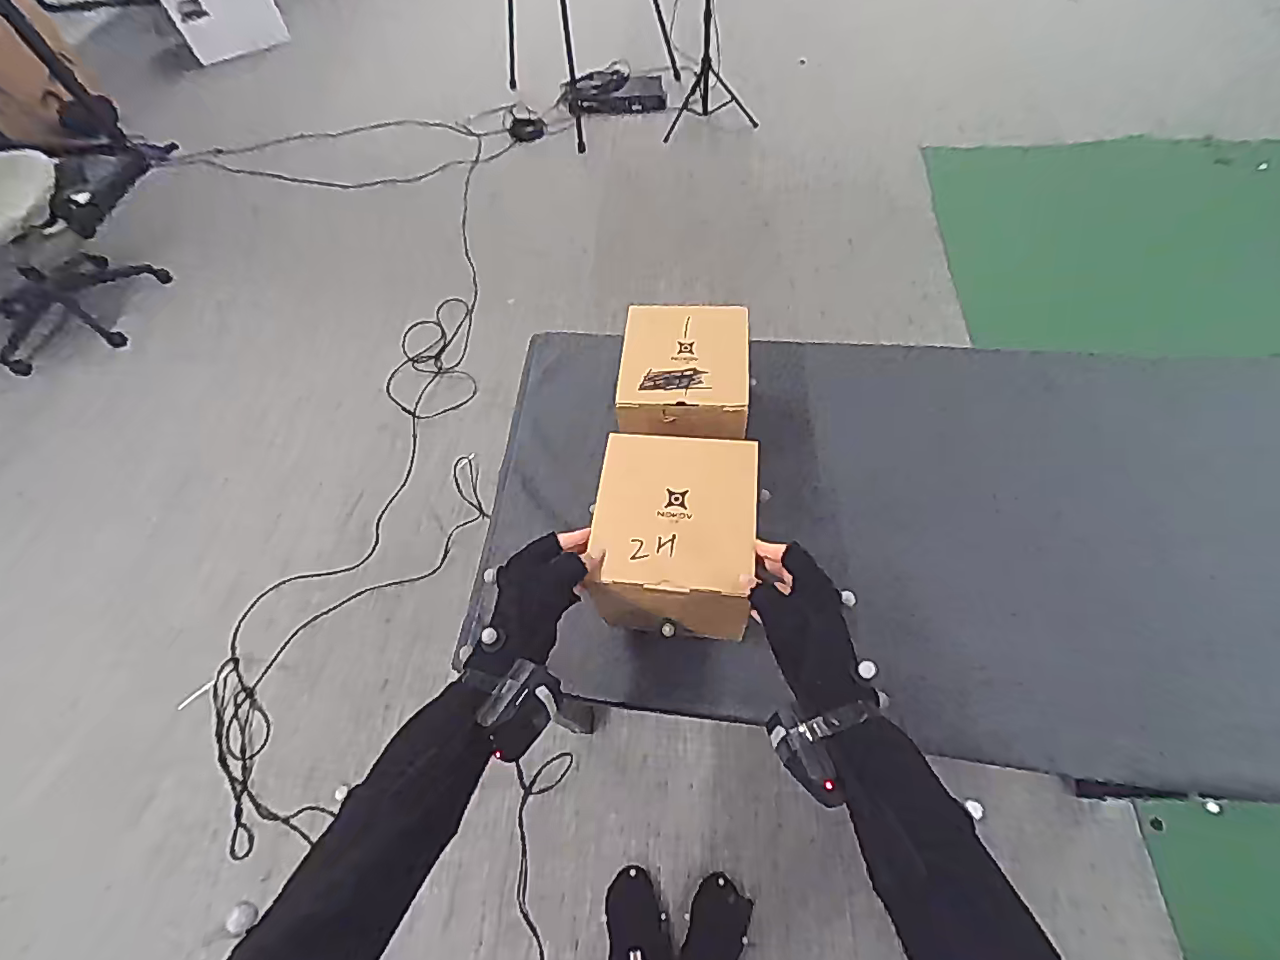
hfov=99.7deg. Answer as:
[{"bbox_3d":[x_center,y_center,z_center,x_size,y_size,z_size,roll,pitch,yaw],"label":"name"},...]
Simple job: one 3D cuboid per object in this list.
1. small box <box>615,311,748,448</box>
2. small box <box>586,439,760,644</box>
[{"bbox_3d":[0.064,-0.116,0.770,0.168,0.176,0.179,3,60,6],"label":"small box"},{"bbox_3d":[0.044,0.074,0.623,0.168,0.176,0.179,4,61,8],"label":"small box"}]
